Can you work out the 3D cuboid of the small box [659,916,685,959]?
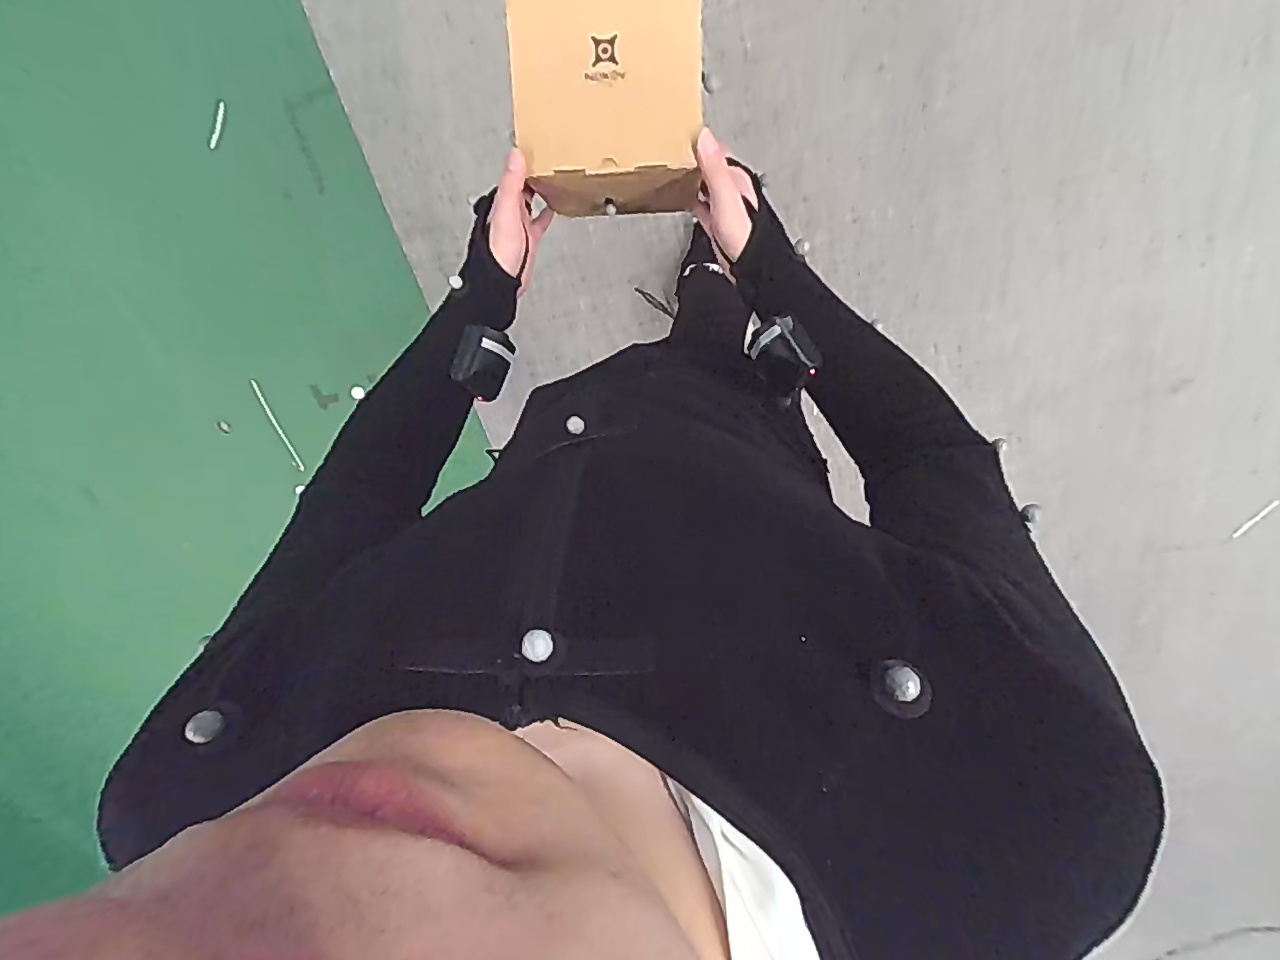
[{"bbox_3d":[0.023,1.307,1.442,0.168,0.176,0.179,-13,113,10],"label":"small box"}]
